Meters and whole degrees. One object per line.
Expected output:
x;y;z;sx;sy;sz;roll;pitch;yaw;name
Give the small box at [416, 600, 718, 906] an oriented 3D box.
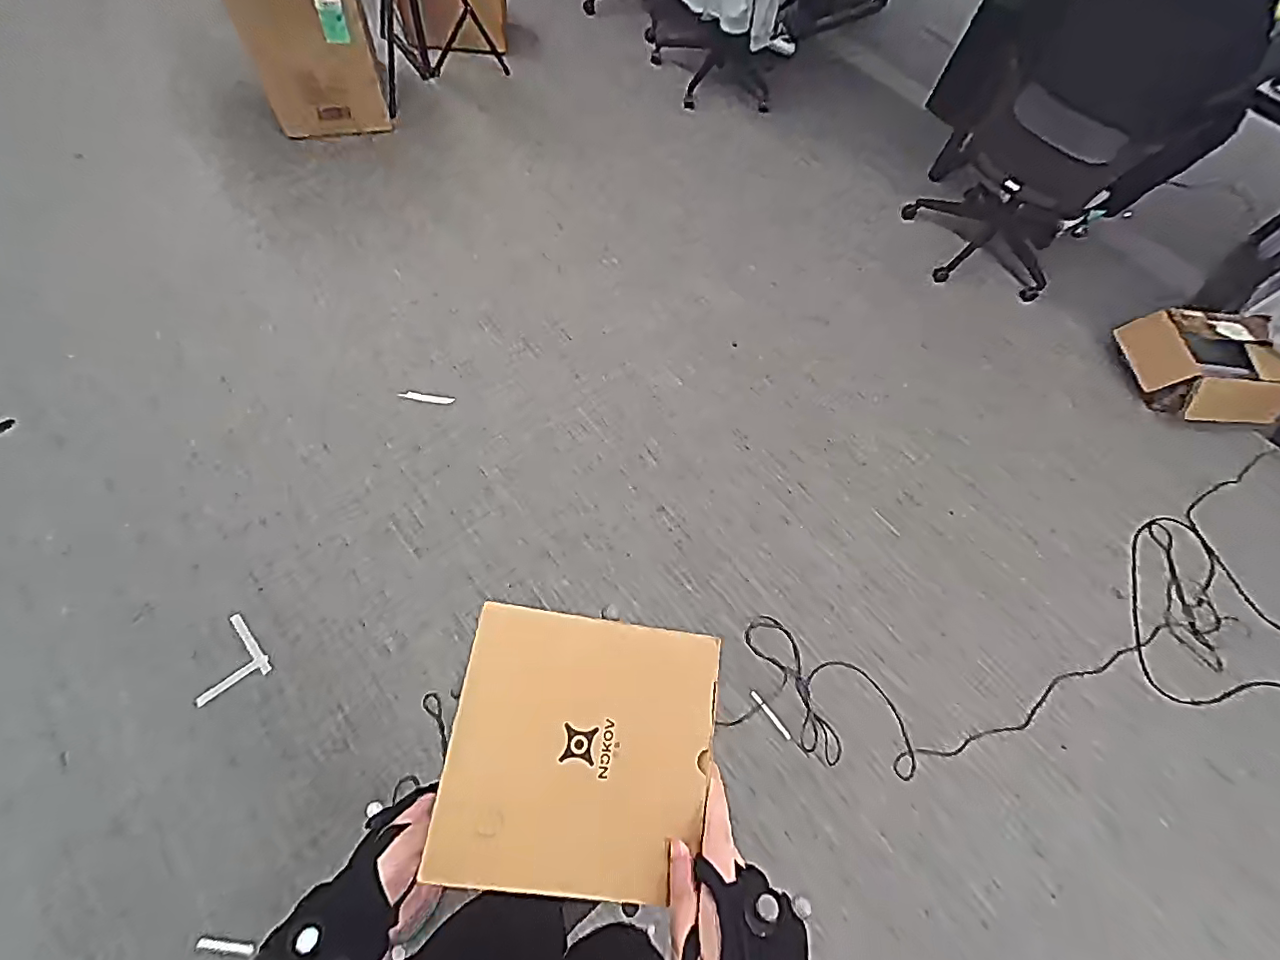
-0.052;0.204;0.430;0.179;0.176;0.168;11;67;-7;small box
